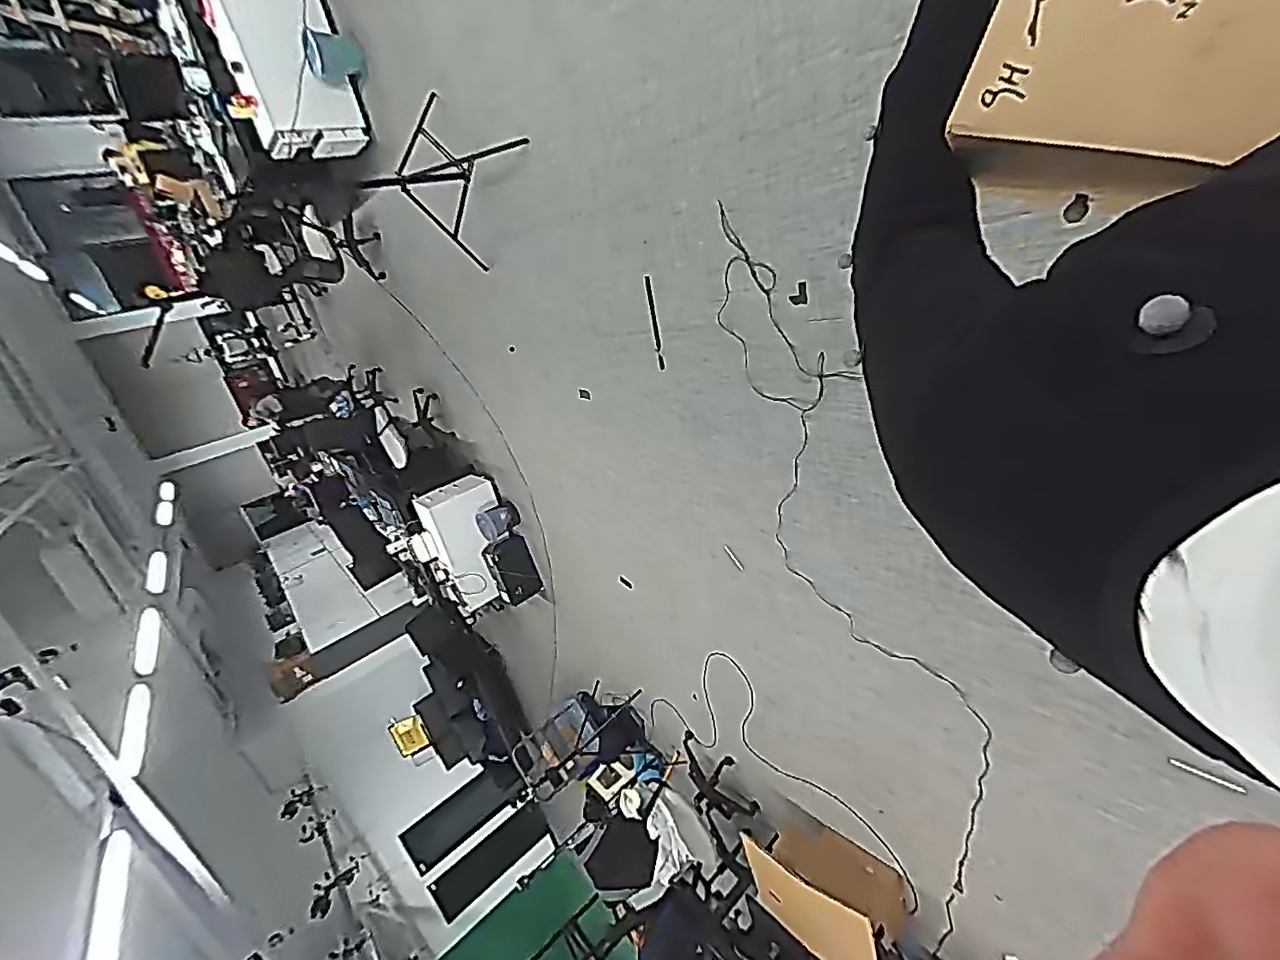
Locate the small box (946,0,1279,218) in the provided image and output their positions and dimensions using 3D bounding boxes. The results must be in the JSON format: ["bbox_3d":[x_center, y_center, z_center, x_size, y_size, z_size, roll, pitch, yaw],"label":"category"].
[{"bbox_3d":[0.343,-0.289,0.362,0.179,0.176,0.168,29,117,28],"label":"small box"}]
